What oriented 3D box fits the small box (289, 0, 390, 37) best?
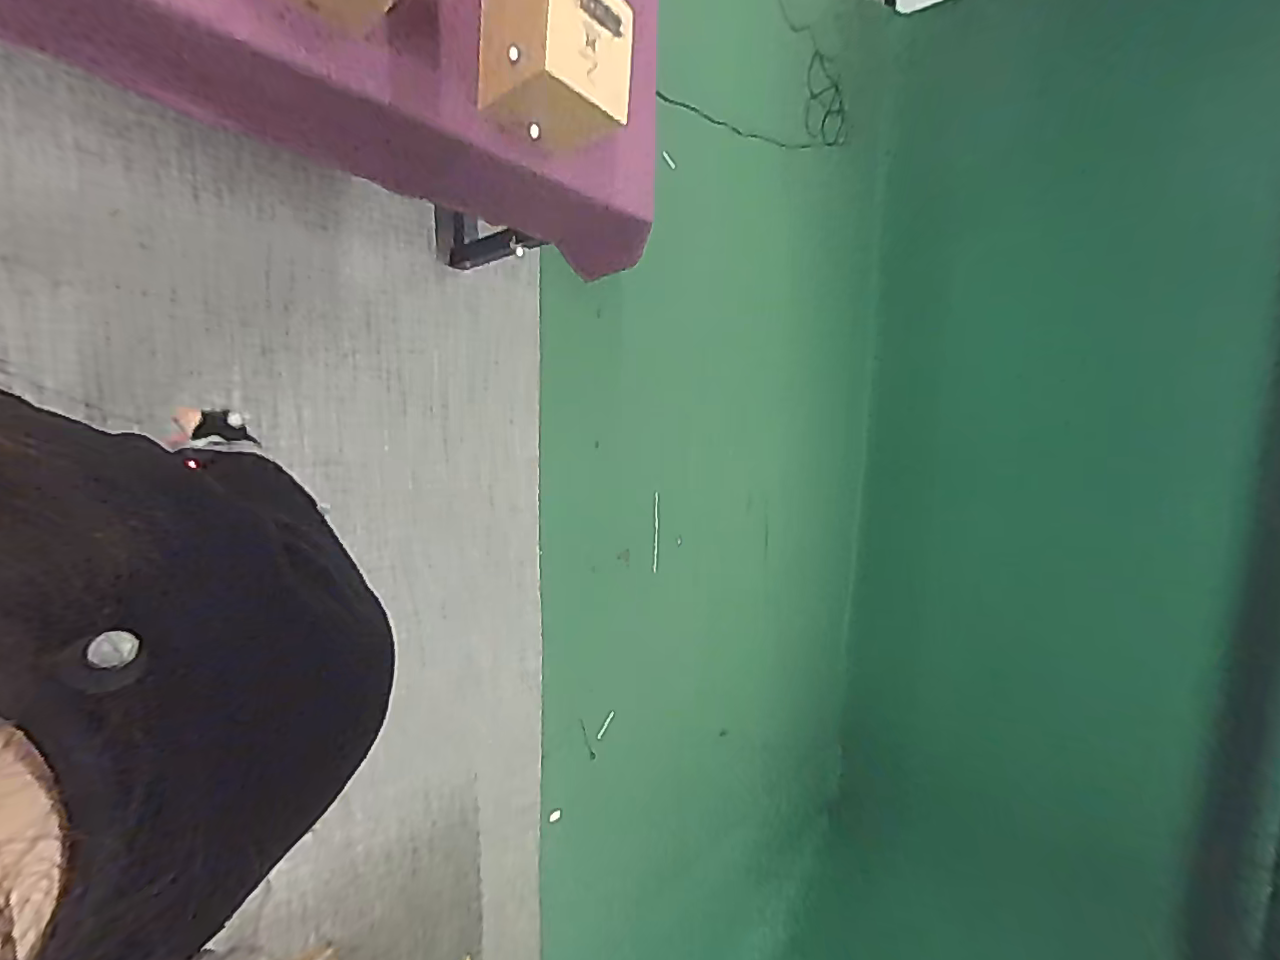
[{"bbox_3d":[-0.356,-0.641,0.585,0.168,0.176,0.179,-3,96,-48],"label":"small box"}]
